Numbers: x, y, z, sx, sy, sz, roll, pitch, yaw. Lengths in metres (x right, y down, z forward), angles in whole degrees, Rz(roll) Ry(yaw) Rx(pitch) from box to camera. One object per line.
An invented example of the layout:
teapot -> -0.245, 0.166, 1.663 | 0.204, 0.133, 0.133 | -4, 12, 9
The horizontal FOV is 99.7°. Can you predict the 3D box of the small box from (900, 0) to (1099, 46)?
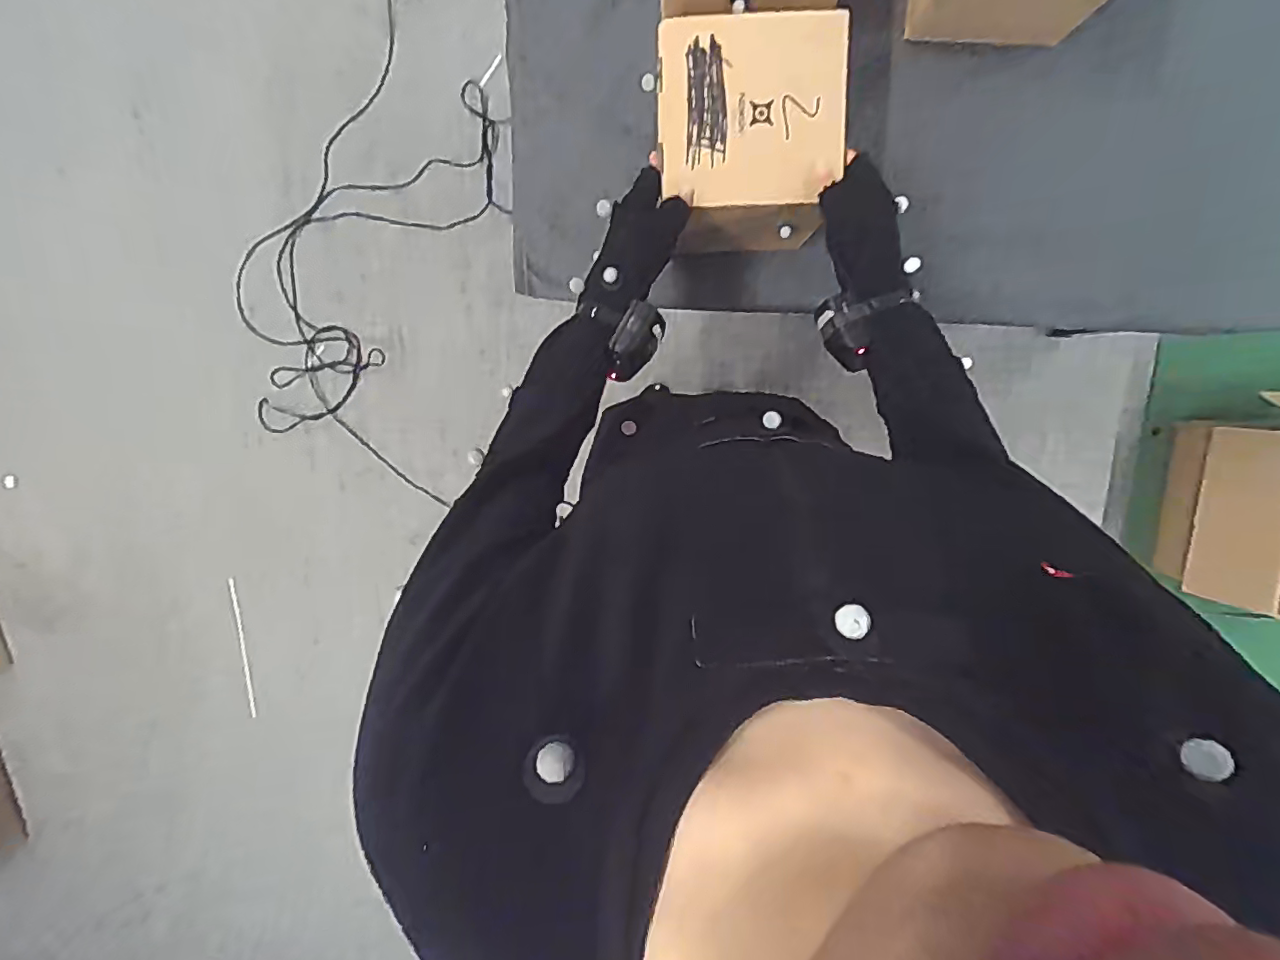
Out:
small box -> 0.390, -0.569, 0.533 | 0.179, 0.176, 0.168 | 5, 100, 2
